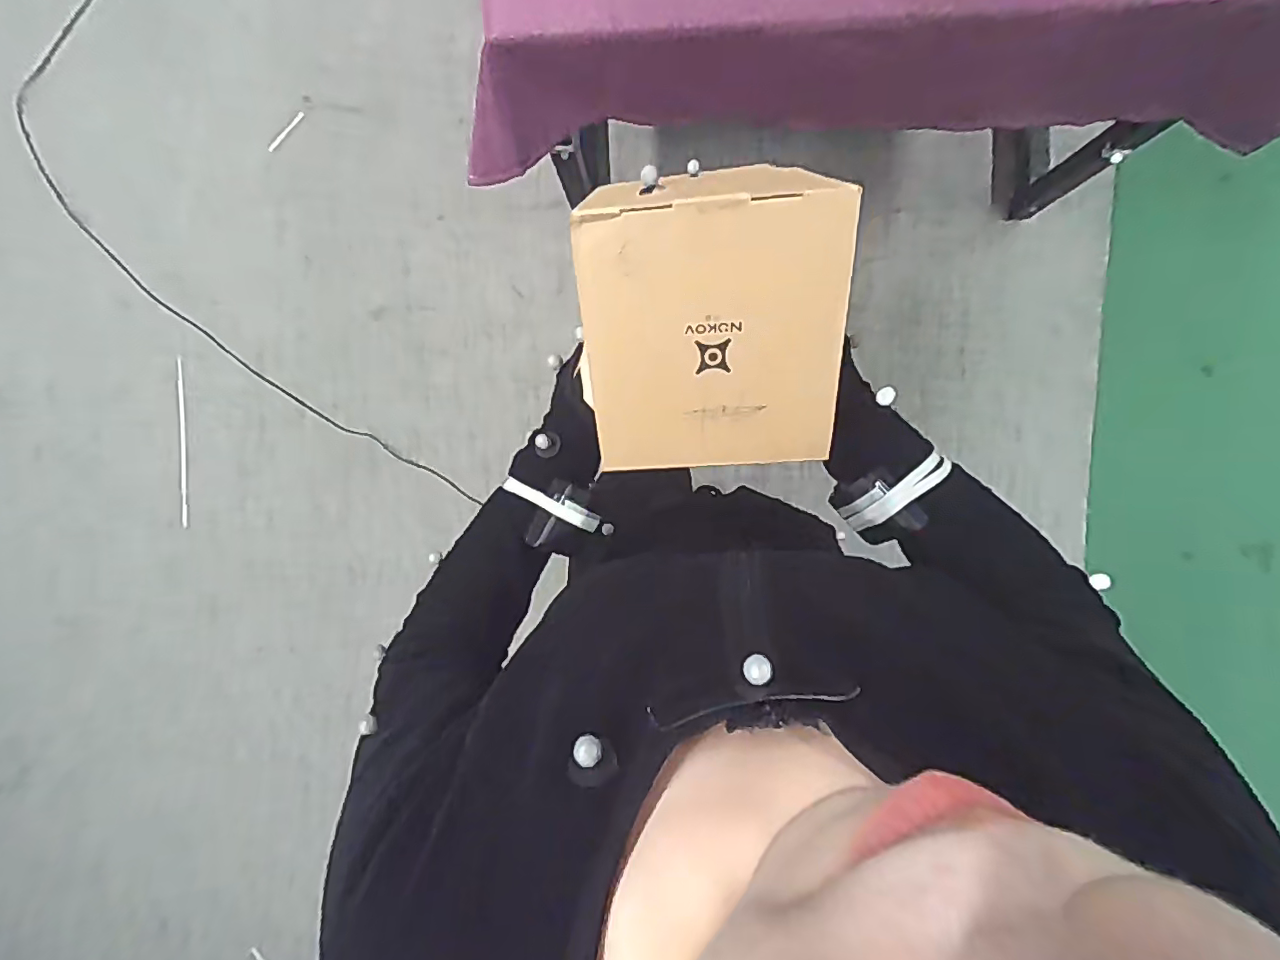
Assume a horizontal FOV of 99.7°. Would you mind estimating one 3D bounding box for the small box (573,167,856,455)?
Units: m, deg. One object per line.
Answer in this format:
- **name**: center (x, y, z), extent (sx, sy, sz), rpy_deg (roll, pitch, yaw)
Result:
- **small box**: center (0.049, -0.137, 0.417), extent (0.168, 0.176, 0.179), rpy_deg (-2, 123, 5)
